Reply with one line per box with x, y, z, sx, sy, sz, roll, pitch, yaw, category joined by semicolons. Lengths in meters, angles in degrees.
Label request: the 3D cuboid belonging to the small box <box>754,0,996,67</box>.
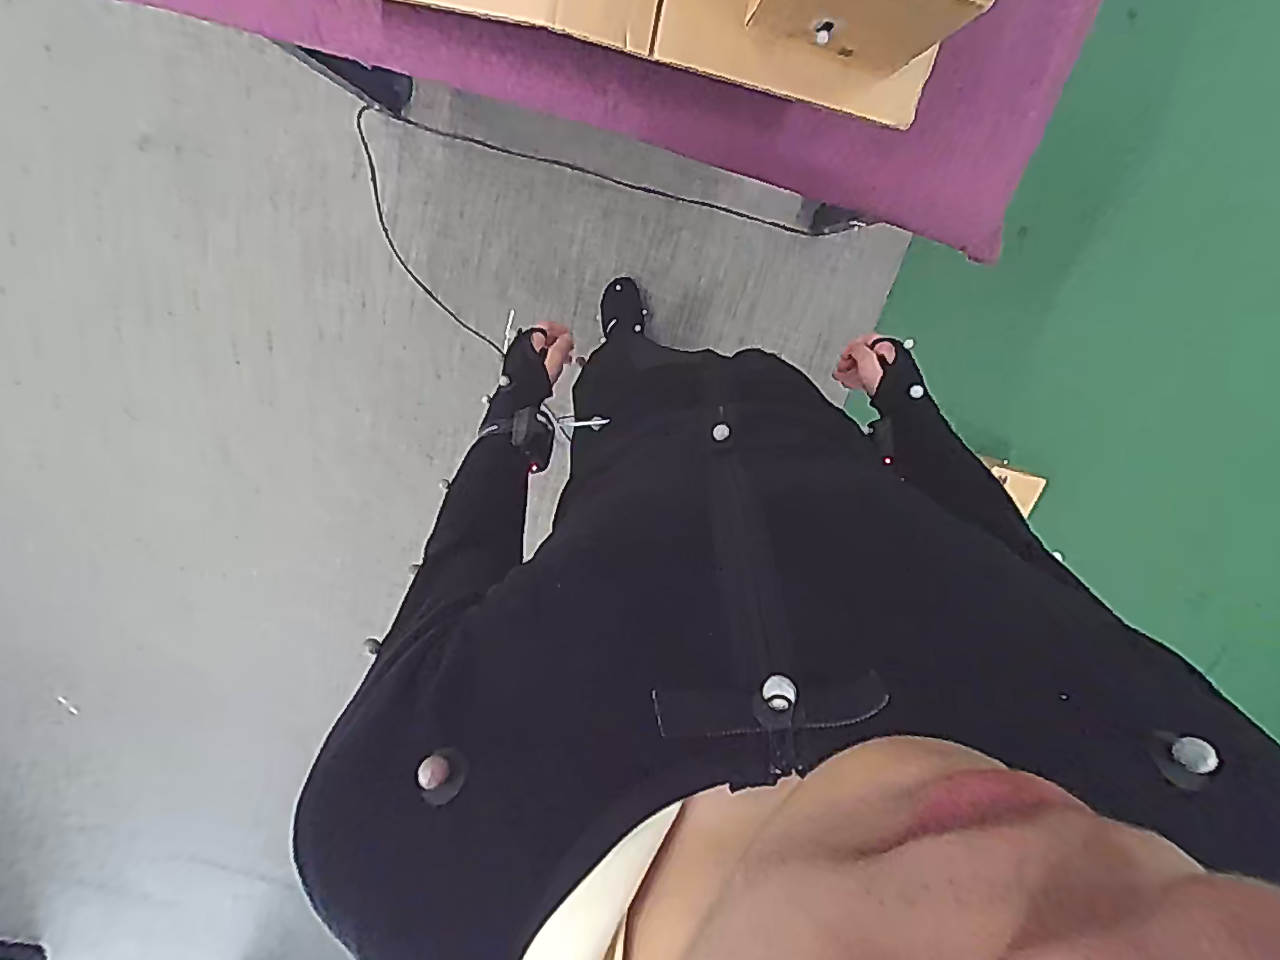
0.209;-0.490;0.449;0.168;0.176;0.179;10;112;-7;small box
